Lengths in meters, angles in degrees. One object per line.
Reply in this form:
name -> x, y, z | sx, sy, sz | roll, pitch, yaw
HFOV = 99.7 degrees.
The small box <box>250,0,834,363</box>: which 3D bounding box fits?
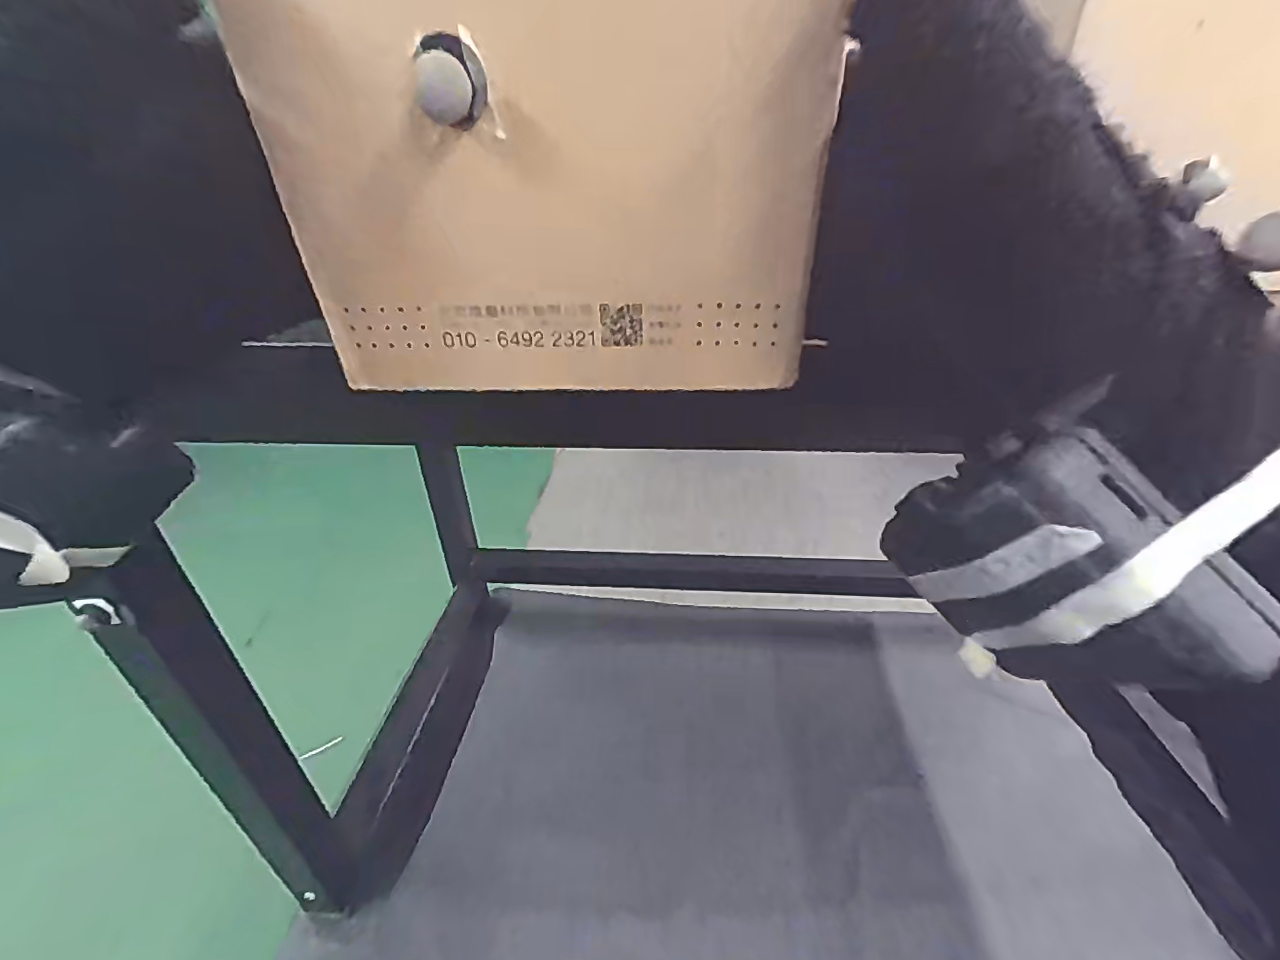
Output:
small box -> -0.022, -0.155, 0.224 | 0.168, 0.176, 0.179 | 0, 34, 3
